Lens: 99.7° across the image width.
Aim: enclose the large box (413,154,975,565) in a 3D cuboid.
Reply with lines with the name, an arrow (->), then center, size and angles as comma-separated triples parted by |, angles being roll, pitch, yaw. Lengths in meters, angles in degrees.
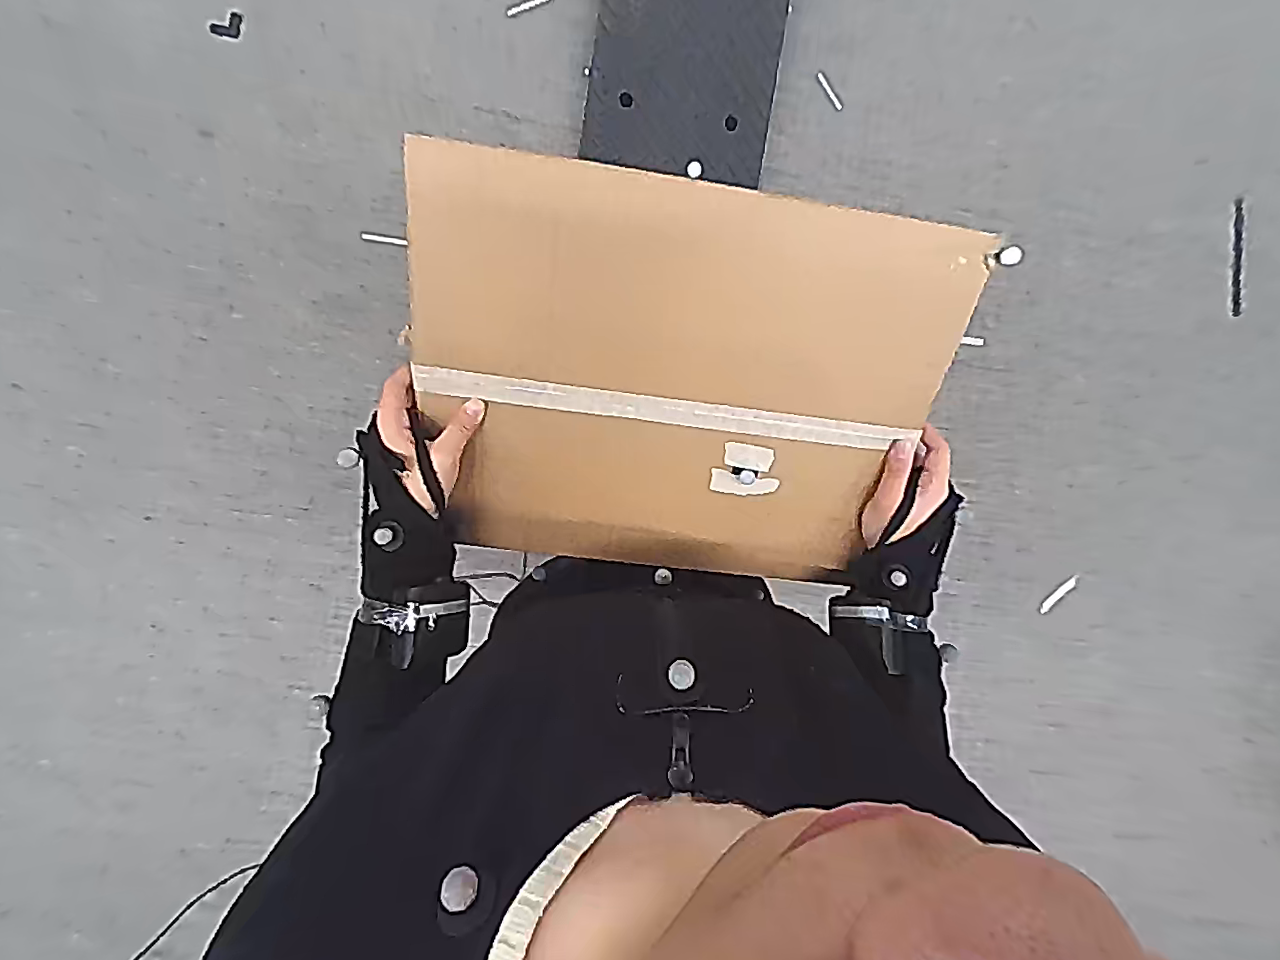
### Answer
large box -> 0.021, -0.136, 0.572 | 0.408, 0.320, 0.320 | 6, 120, -6
